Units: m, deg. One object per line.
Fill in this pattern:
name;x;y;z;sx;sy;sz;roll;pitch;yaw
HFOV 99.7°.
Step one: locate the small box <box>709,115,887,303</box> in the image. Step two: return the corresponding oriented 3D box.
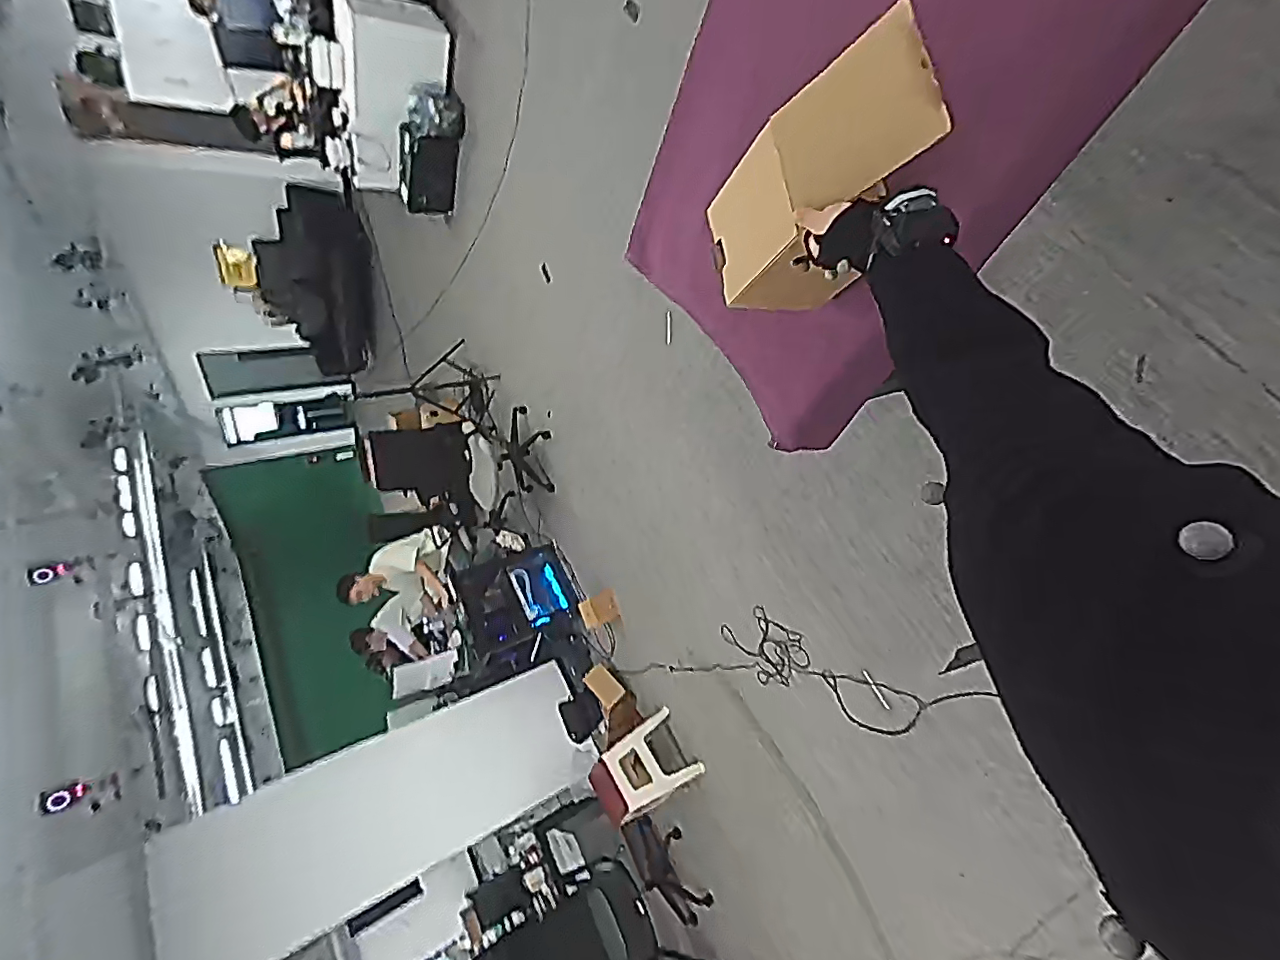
small box;0.221;-0.366;0.763;0.179;0.176;0.168;151;113;-67
